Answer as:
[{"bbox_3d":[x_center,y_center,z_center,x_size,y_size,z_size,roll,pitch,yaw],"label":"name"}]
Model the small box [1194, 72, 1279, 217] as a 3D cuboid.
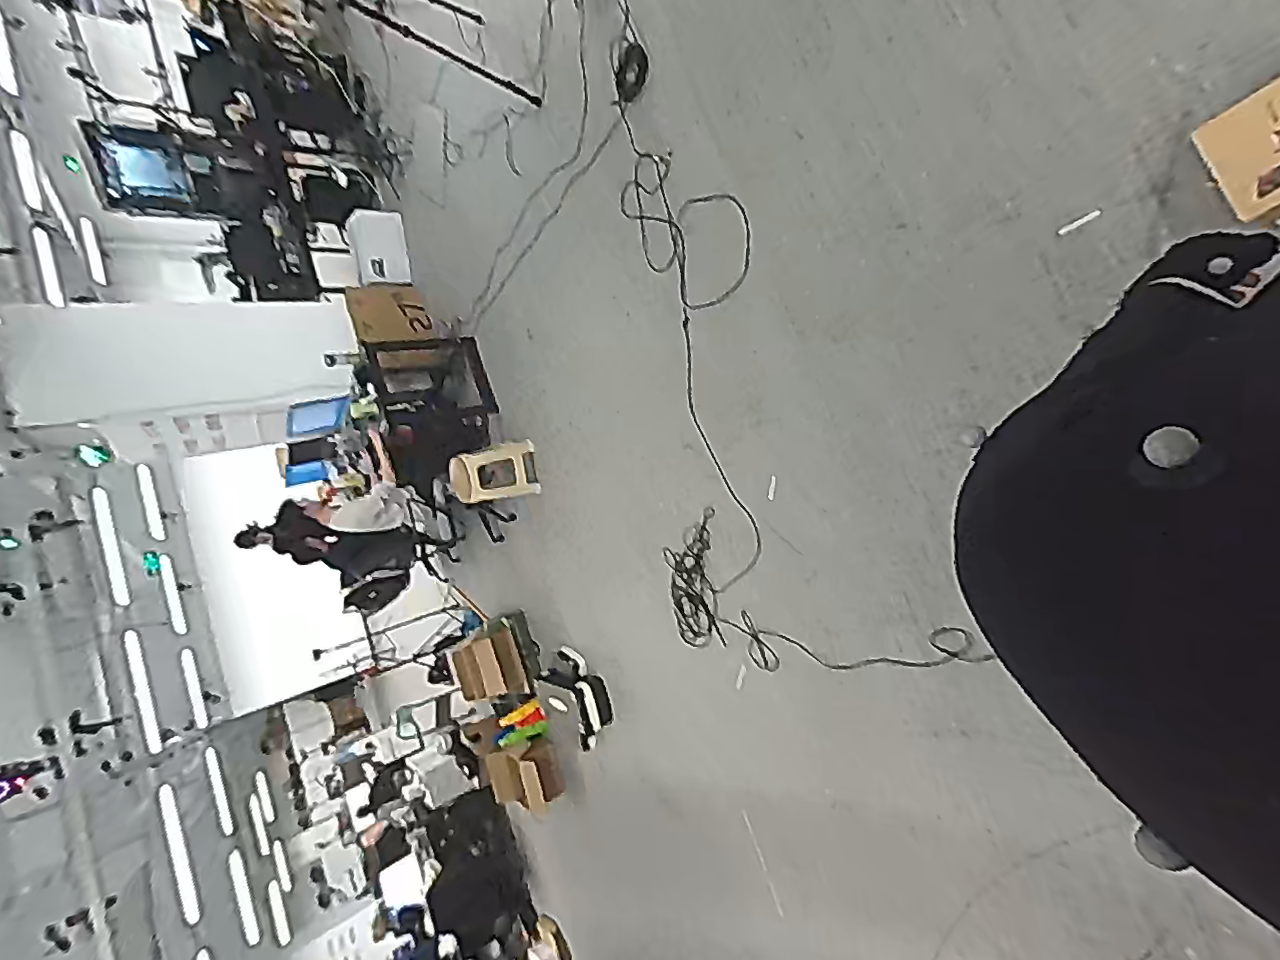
[{"bbox_3d":[1.048,-0.547,0.861,0.168,0.176,0.179,-32,75,53],"label":"small box"}]
